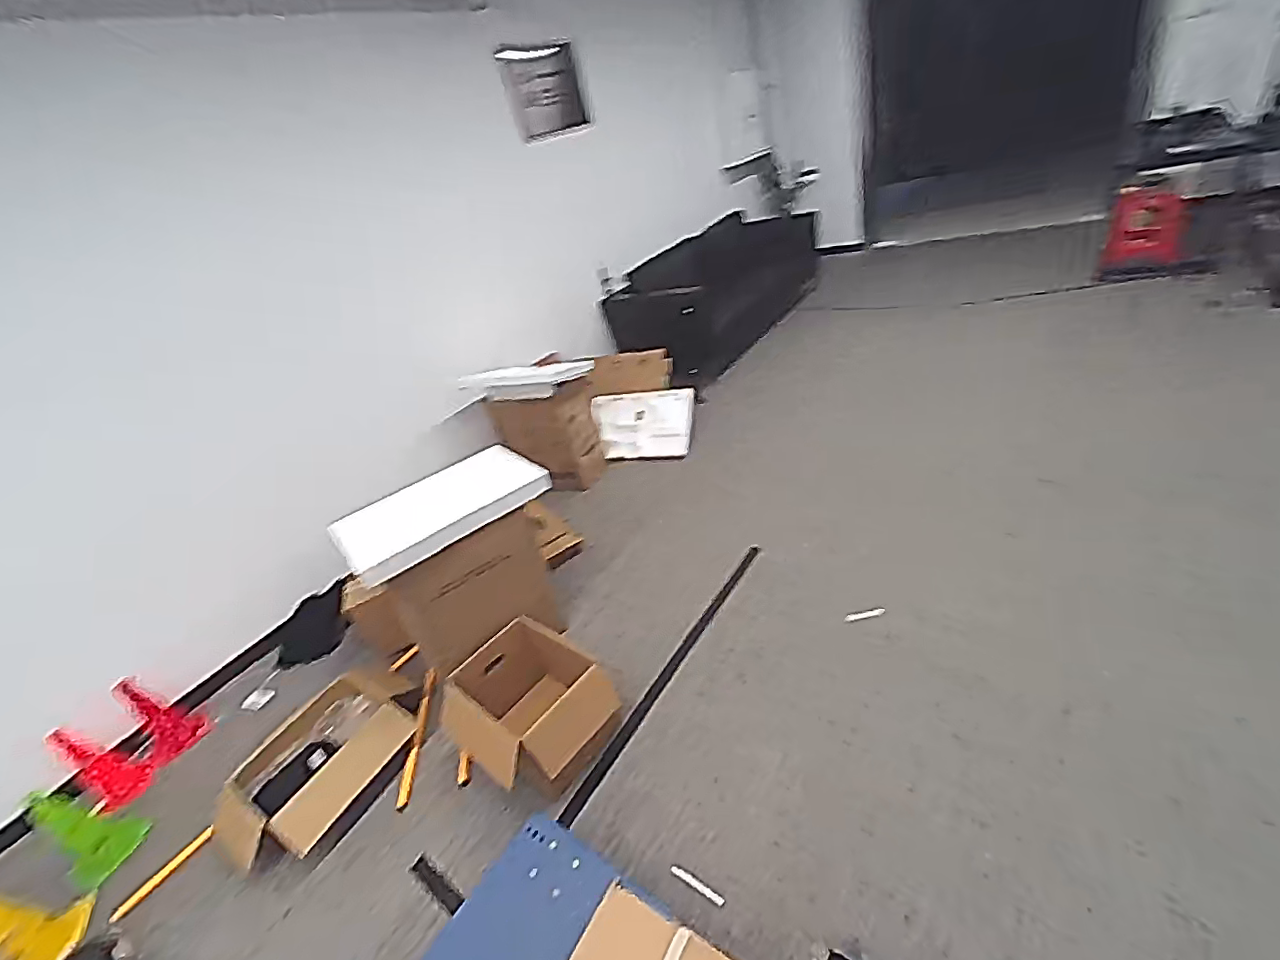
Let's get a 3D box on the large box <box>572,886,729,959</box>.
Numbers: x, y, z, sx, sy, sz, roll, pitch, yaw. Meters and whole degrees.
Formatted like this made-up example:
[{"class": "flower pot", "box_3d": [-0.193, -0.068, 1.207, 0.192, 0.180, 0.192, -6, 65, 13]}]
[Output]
[{"class": "large box", "box_3d": [0.009, 0.983, 0.837, 0.320, 0.320, 0.408, 7, 36, 35]}]
